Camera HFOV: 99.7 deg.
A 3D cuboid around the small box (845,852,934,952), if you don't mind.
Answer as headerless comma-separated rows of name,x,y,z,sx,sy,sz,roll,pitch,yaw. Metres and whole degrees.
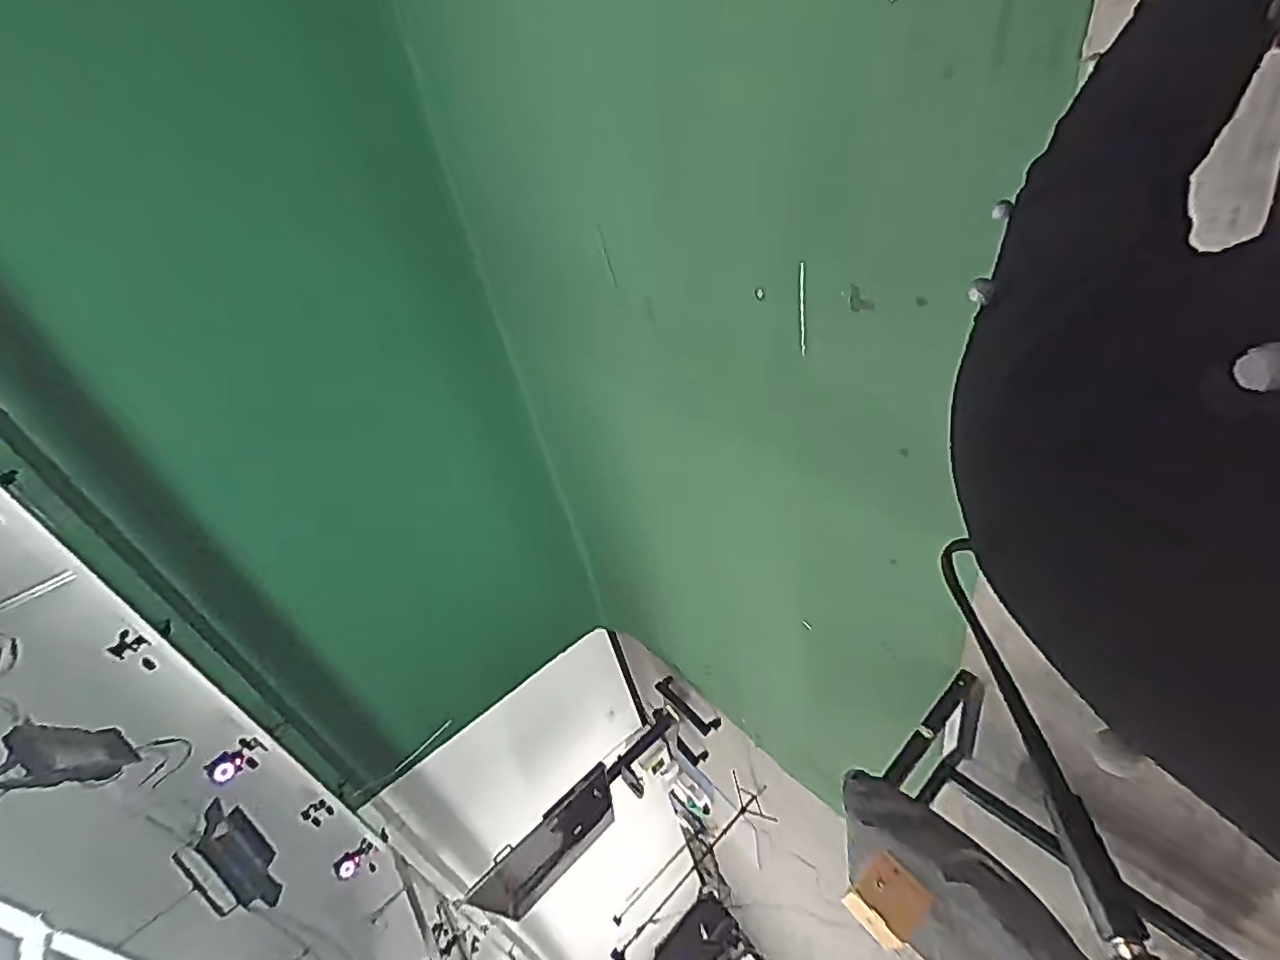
small box,0.750,1.263,1.626,0.168,0.176,0.179,38,150,35
